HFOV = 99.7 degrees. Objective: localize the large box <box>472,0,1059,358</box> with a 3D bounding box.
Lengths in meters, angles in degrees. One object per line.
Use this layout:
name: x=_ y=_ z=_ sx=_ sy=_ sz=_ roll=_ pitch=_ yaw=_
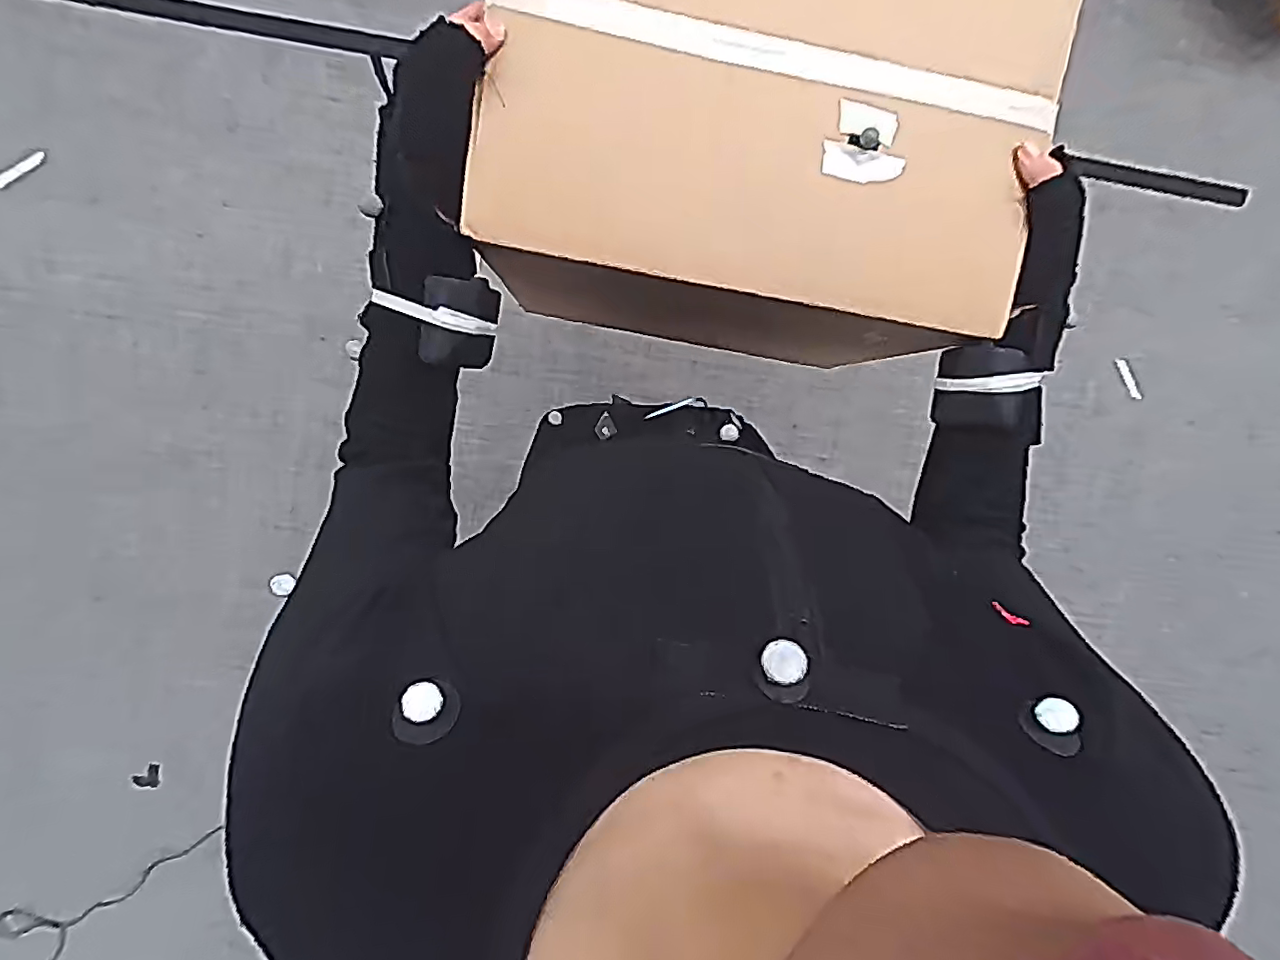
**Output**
large box: x=0.082 y=-0.316 z=0.531 sx=0.408 sy=0.320 sz=0.320 roll=9 pitch=98 yaw=-6
